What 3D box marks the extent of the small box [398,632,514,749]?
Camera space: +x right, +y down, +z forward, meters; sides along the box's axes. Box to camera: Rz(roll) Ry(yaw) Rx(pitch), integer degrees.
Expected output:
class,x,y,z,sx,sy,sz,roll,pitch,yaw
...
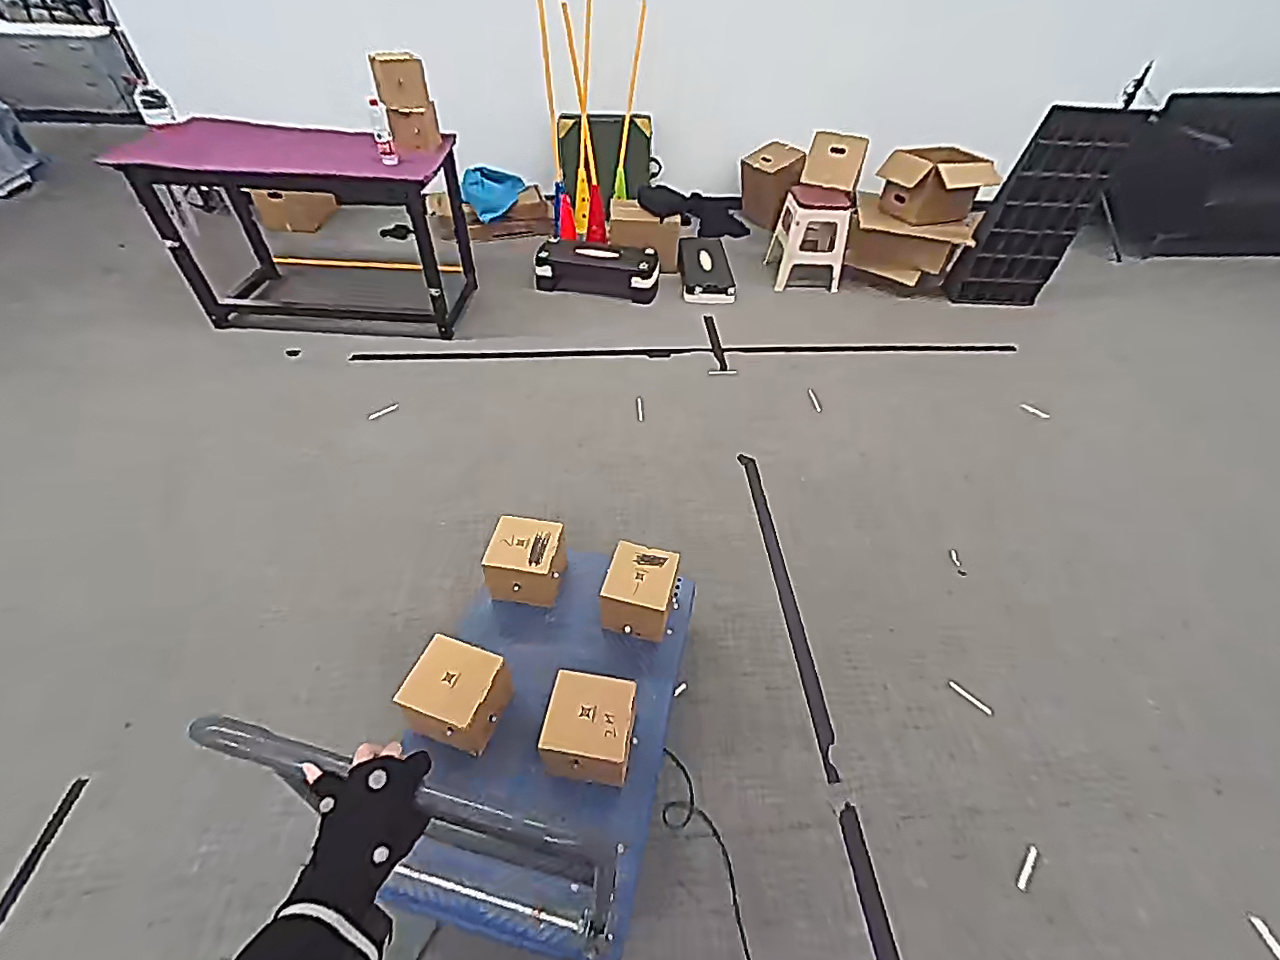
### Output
class,x,y,z,sx,sy,sz,roll,pitch,yaw
small box,-0.403,0.476,1.214,0.179,0.176,0.168,16,47,10

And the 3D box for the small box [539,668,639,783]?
class,x,y,z,sx,sy,sz,roll,pitch,yaw
small box,-0.104,0.535,1.172,0.179,0.176,0.168,9,47,5

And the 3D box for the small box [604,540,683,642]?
class,x,y,z,sx,sy,sz,roll,pitch,yaw
small box,0.009,0.290,1.413,0.168,0.176,0.179,13,48,9
